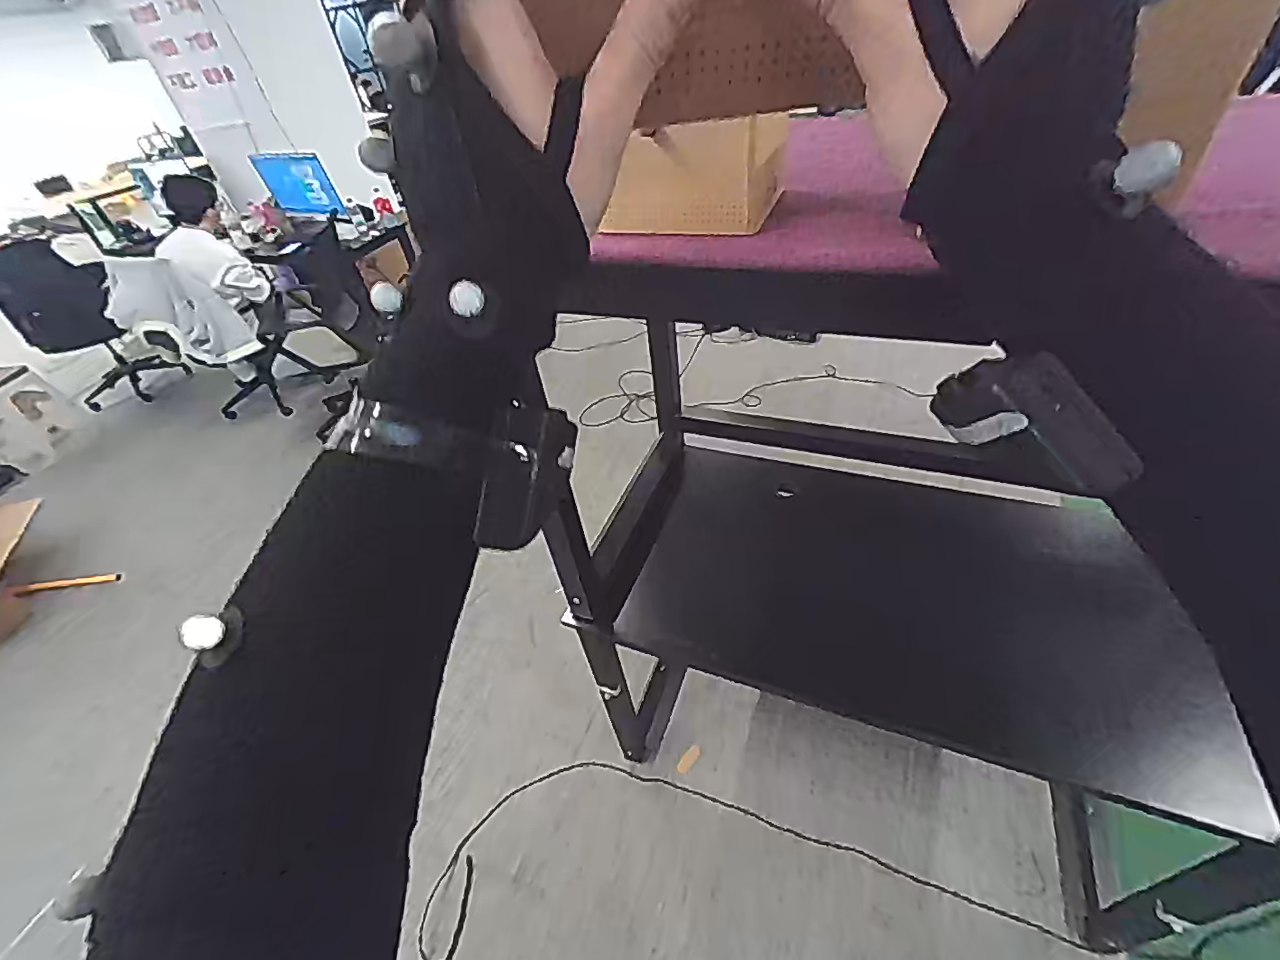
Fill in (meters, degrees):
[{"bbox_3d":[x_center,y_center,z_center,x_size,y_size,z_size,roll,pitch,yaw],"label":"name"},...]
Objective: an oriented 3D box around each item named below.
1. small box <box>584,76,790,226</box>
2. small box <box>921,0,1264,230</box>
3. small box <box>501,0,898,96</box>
[{"bbox_3d":[0.051,-0.372,0.555,0.179,0.176,0.168,9,44,21],"label":"small box"},{"bbox_3d":[0.340,-0.315,0.440,0.179,0.176,0.168,10,45,21],"label":"small box"},{"bbox_3d":[0.020,-0.283,0.203,0.179,0.176,0.168,-5,70,3],"label":"small box"}]
